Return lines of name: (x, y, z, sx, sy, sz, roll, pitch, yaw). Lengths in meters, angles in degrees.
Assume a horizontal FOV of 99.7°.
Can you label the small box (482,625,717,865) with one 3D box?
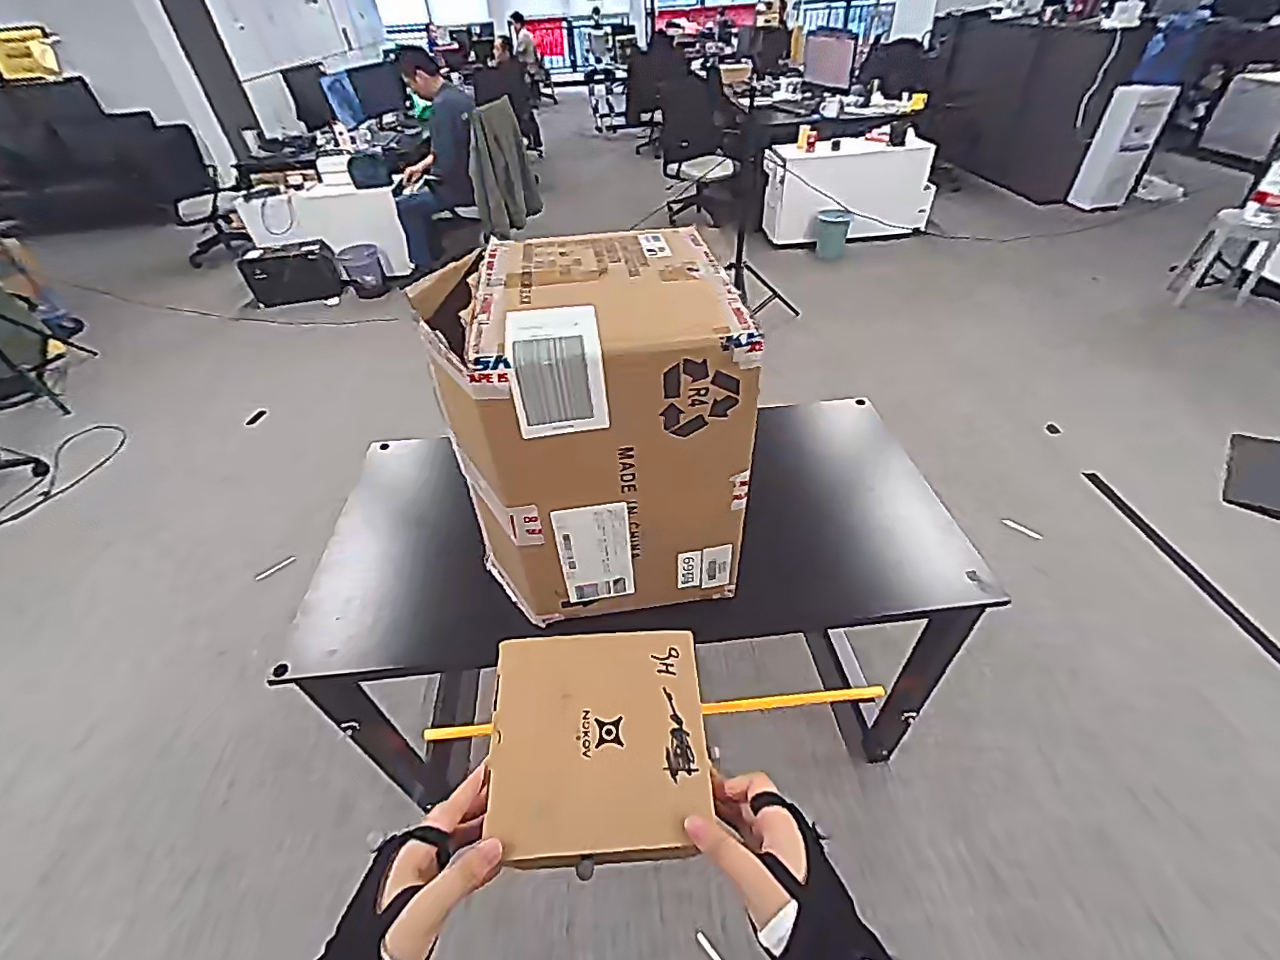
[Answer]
small box: (-0.032, 0.250, 0.503, 0.179, 0.176, 0.168, -2, 52, -2)
